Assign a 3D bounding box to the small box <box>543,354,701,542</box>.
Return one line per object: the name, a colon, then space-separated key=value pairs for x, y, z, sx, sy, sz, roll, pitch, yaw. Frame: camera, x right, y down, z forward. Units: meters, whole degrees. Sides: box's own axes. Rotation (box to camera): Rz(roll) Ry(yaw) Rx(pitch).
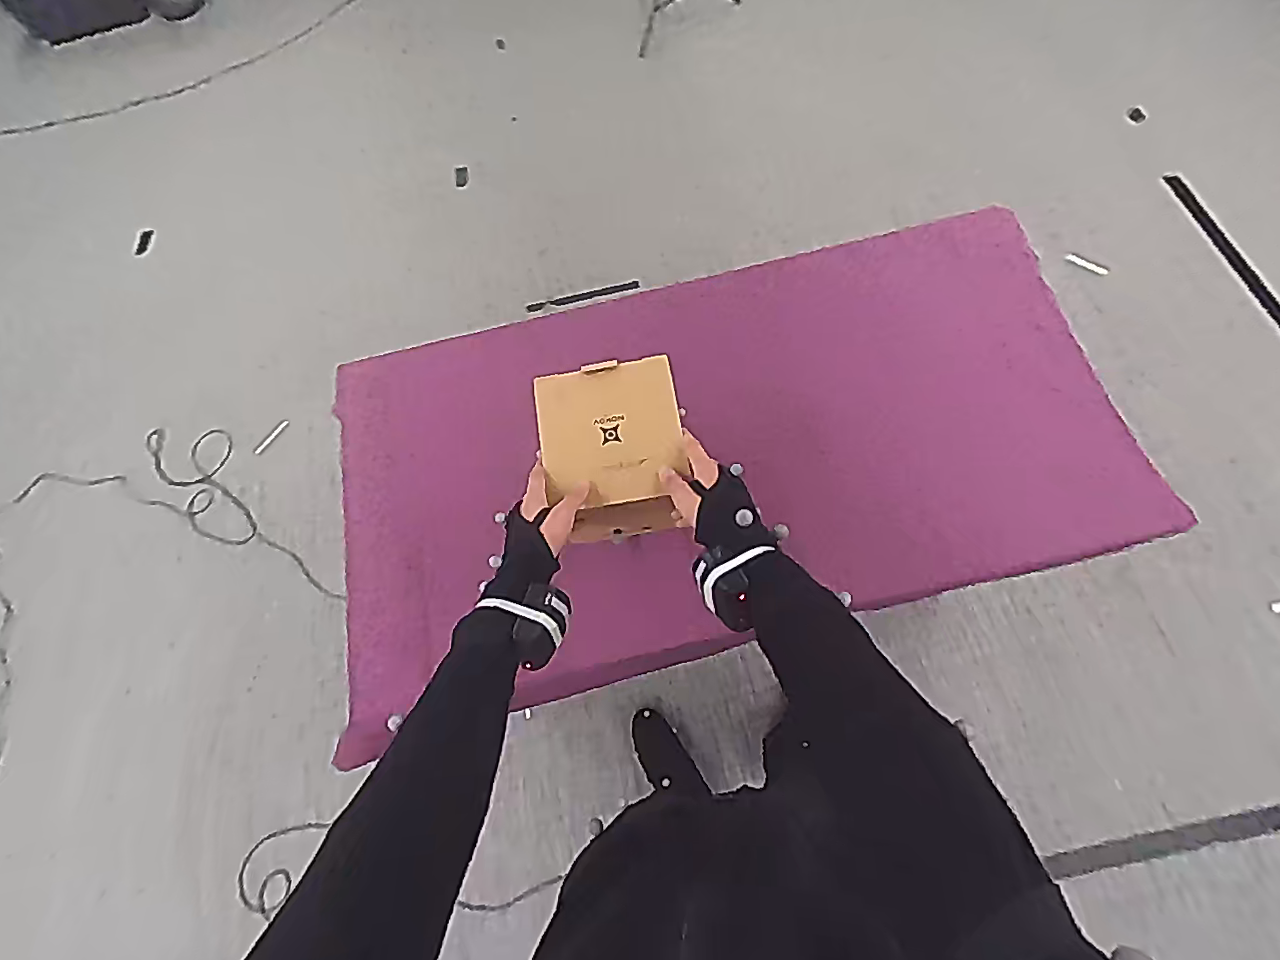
small box: x=-0.020 y=-0.033 z=0.690 sx=0.168 sy=0.176 sz=0.179 roll=-9 pitch=71 yaw=1
